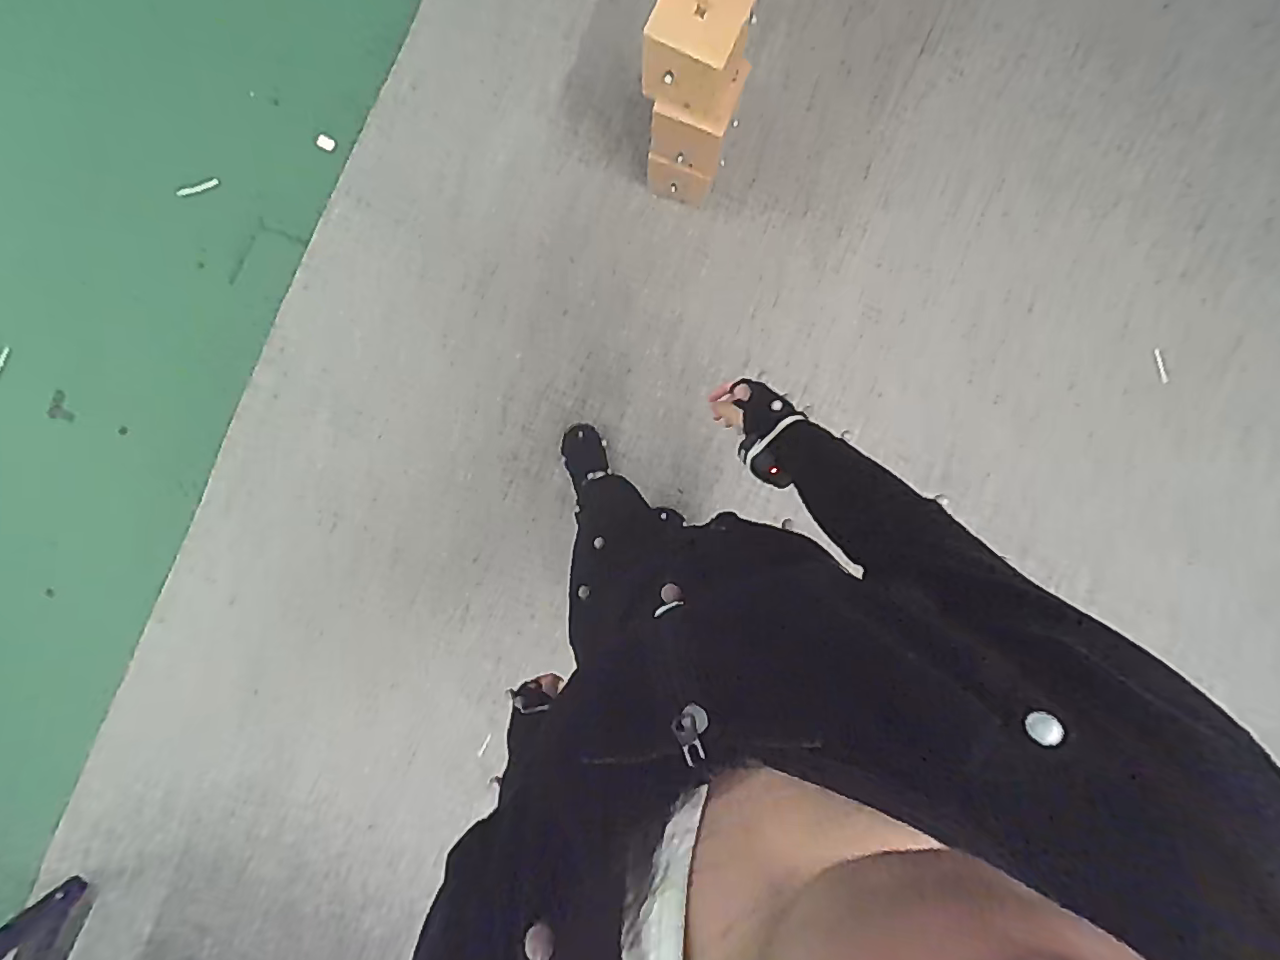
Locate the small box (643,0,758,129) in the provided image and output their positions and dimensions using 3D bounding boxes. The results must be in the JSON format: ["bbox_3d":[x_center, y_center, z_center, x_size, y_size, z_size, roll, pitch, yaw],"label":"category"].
[{"bbox_3d":[0.116,-0.859,1.089,0.168,0.176,0.179,25,90,1],"label":"small box"}]
